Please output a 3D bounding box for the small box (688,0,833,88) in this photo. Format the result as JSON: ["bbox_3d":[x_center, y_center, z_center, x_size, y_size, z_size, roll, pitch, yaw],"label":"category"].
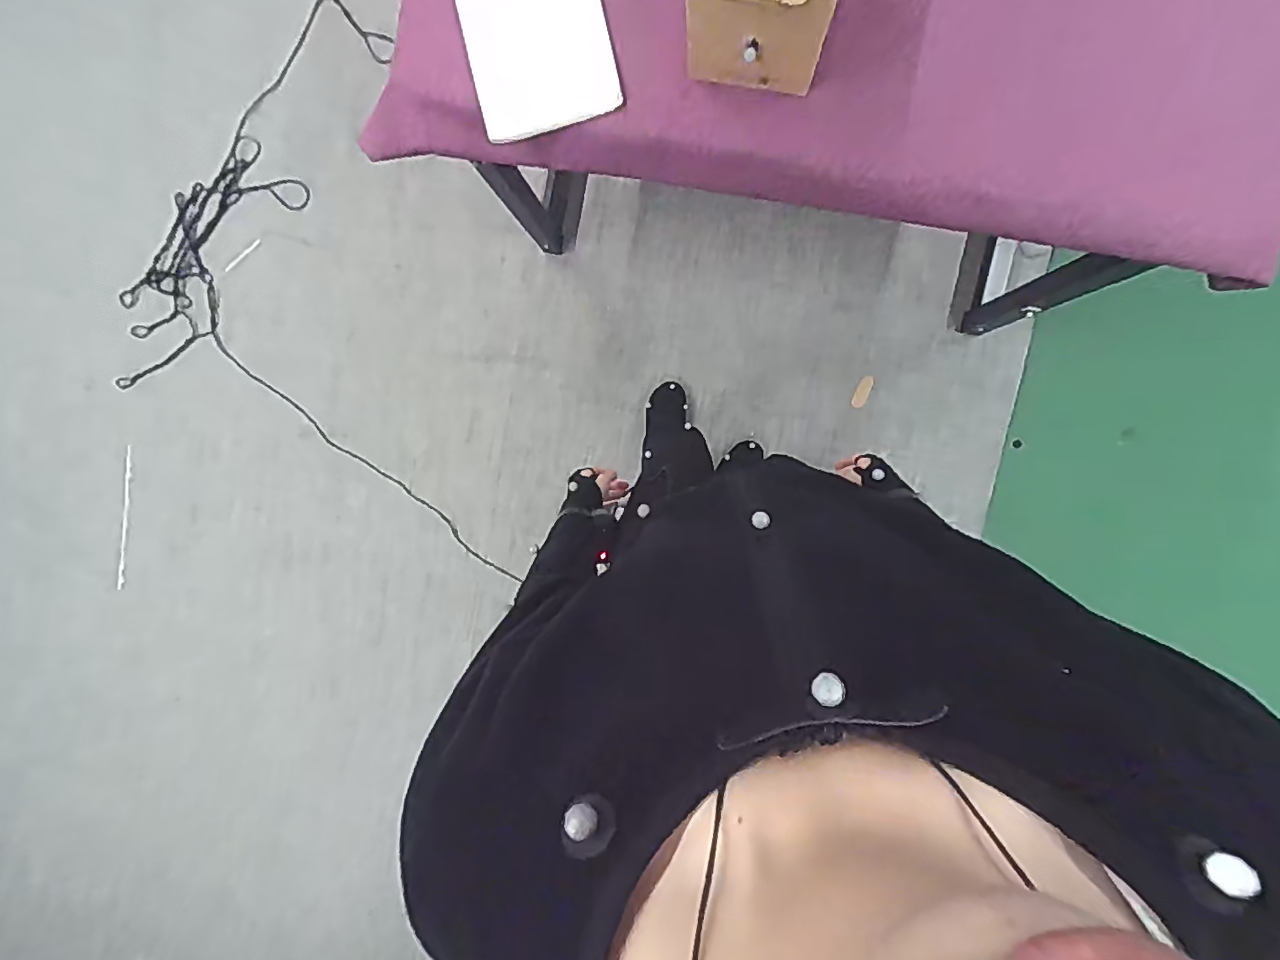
[{"bbox_3d":[0.157,-0.617,0.648,0.168,0.176,0.179,13,96,5],"label":"small box"}]
